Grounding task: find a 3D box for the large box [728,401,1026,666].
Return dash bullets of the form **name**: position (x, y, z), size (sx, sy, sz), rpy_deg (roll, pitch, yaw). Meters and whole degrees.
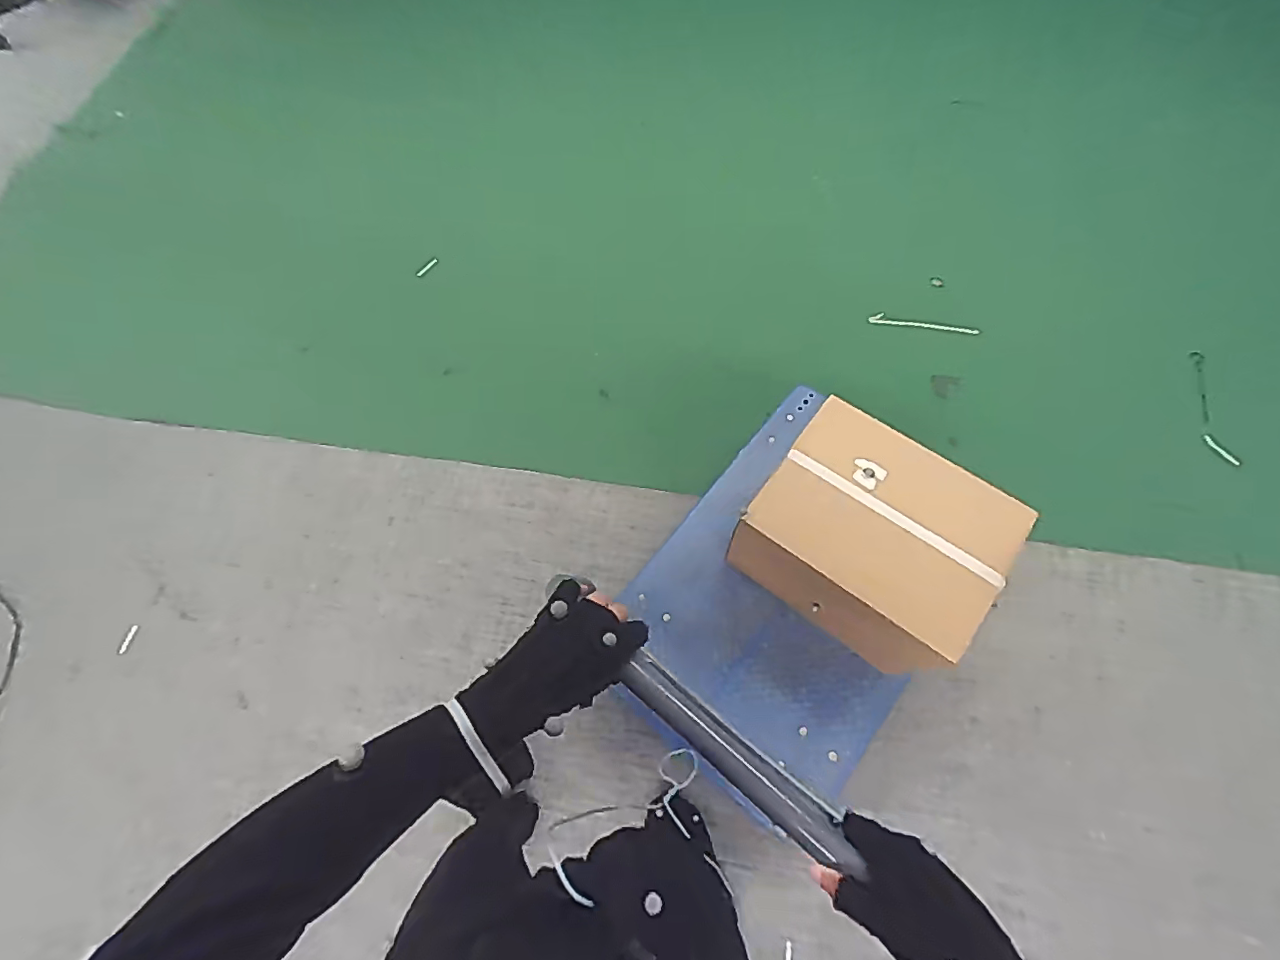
- **large box**: position (0.434, 0.121, 1.085), size (0.408, 0.320, 0.320), rpy_deg (34, 73, 16)
